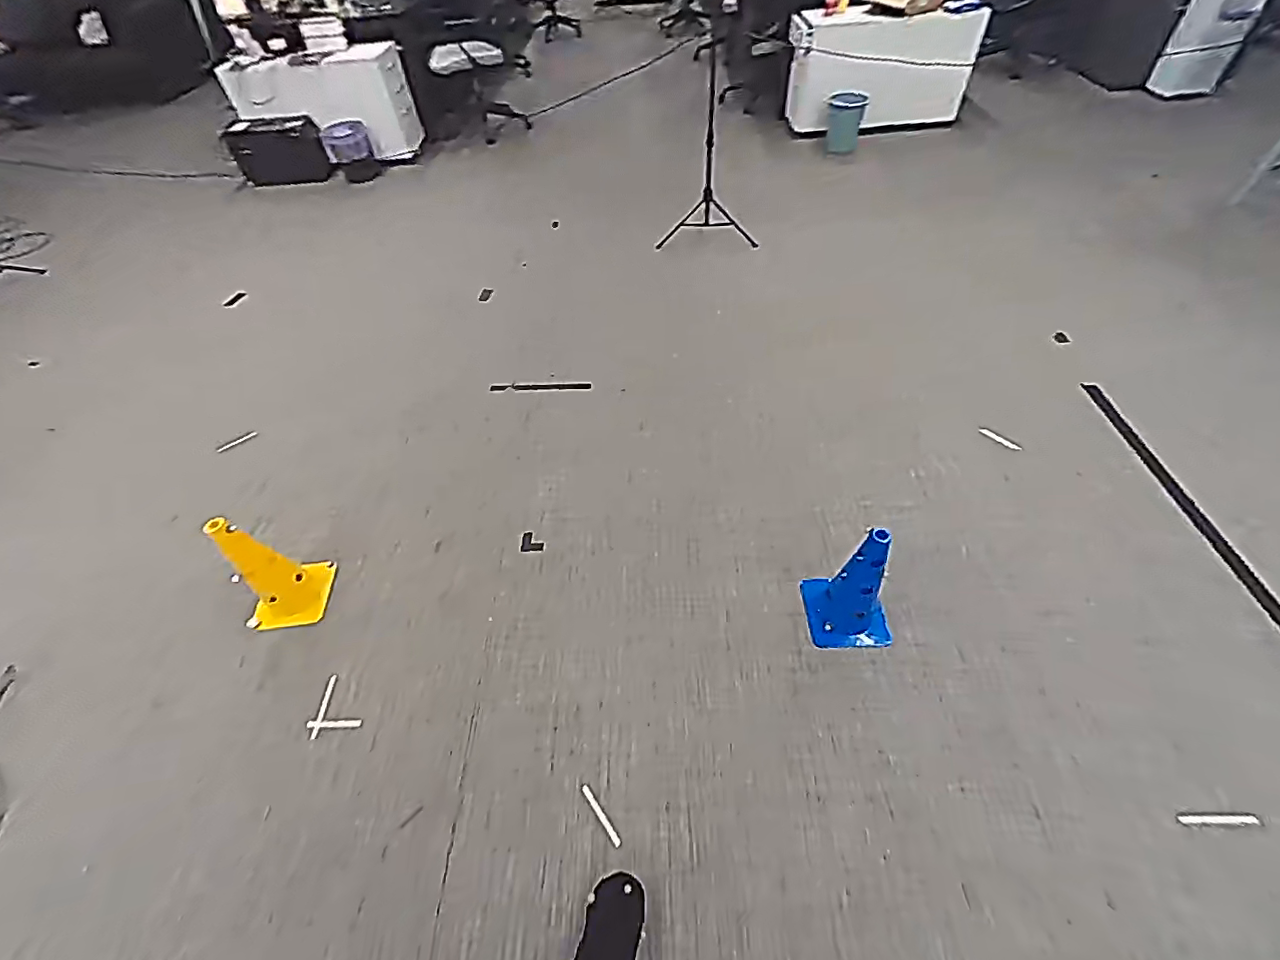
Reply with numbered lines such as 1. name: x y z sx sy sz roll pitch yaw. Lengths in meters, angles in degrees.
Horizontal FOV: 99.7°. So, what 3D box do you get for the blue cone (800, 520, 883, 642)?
1. blue cone: 0.523 0.231 1.312 0.193 0.380 0.192 -1 48 3
